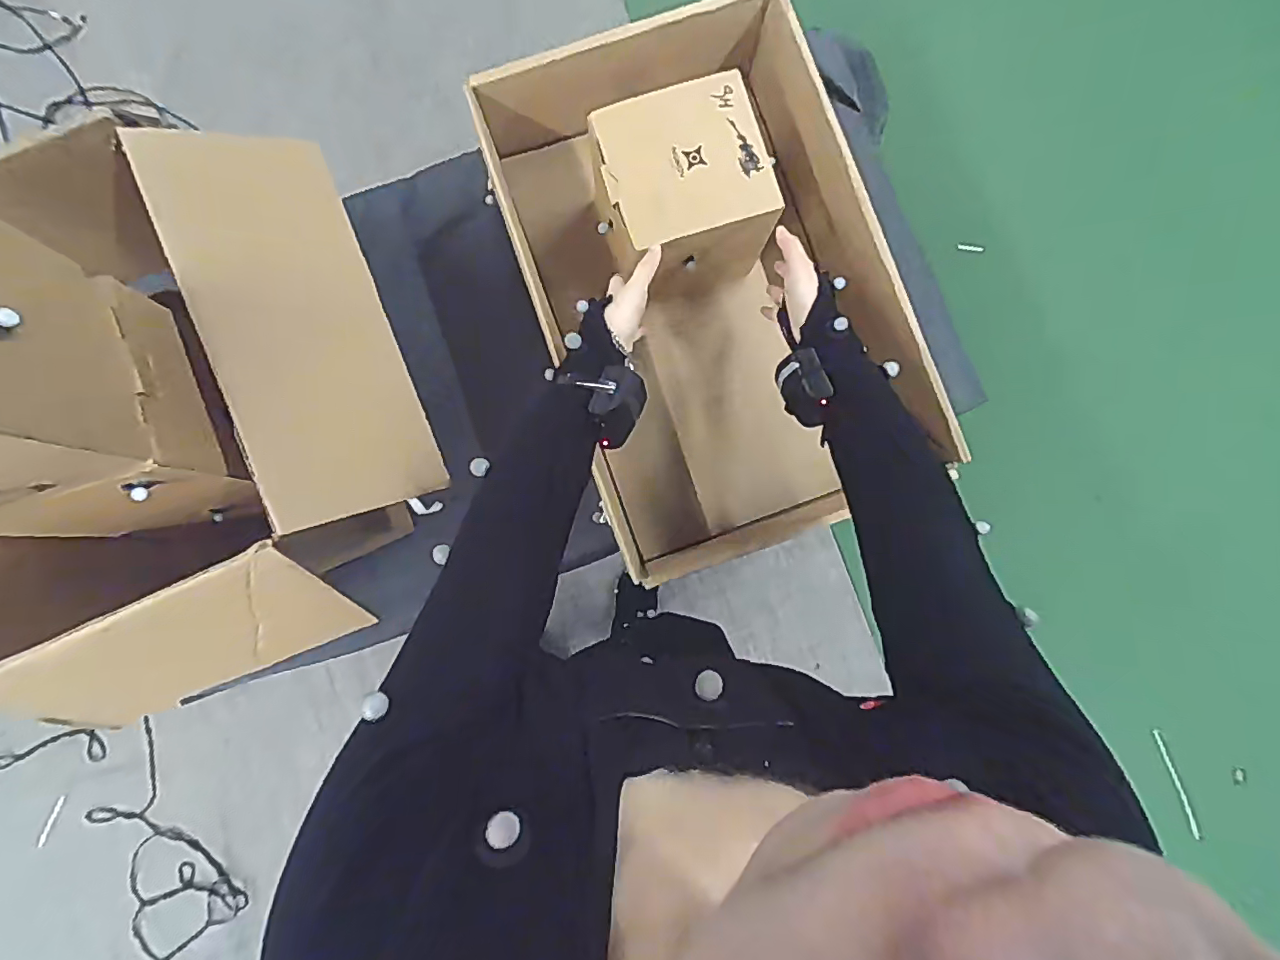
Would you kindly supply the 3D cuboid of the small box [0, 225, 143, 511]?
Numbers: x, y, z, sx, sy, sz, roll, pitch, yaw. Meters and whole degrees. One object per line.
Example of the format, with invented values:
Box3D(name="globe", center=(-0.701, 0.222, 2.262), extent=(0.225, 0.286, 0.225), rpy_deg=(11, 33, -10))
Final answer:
Box3D(name="small box", center=(-0.479, -0.076, 0.338), extent=(0.168, 0.176, 0.179), rpy_deg=(-22, 87, -8))
